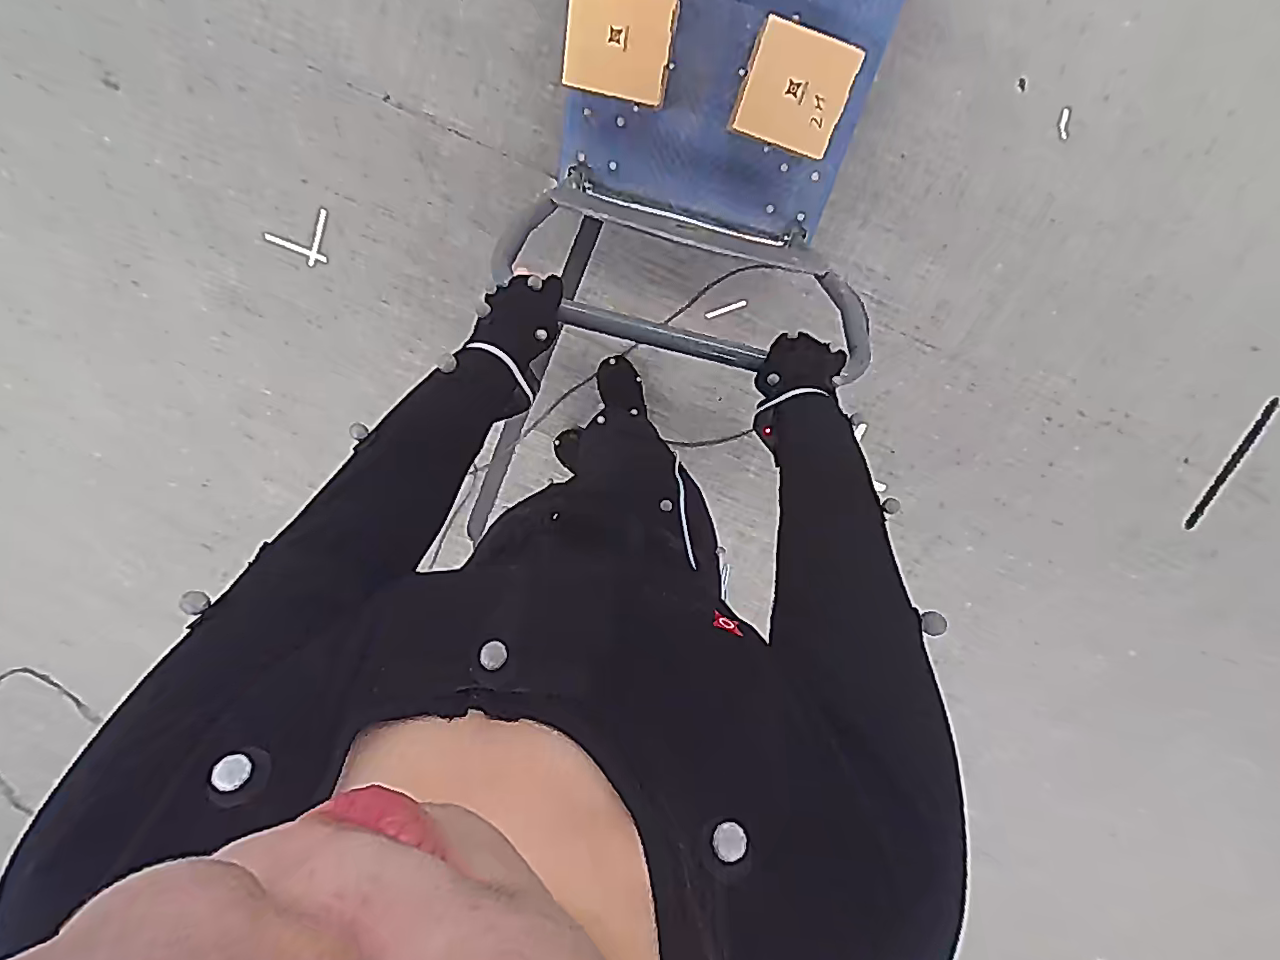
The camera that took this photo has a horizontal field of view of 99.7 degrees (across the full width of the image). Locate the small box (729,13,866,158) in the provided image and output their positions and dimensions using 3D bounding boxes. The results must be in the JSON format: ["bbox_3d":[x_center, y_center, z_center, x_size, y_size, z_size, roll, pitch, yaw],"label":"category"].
[{"bbox_3d":[0.274,-0.711,0.995,0.179,0.176,0.168,17,122,-6],"label":"small box"}]

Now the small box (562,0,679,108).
[{"bbox_3d":[-0.033,-0.785,0.971,0.179,0.176,0.168,10,122,-4],"label":"small box"}]
